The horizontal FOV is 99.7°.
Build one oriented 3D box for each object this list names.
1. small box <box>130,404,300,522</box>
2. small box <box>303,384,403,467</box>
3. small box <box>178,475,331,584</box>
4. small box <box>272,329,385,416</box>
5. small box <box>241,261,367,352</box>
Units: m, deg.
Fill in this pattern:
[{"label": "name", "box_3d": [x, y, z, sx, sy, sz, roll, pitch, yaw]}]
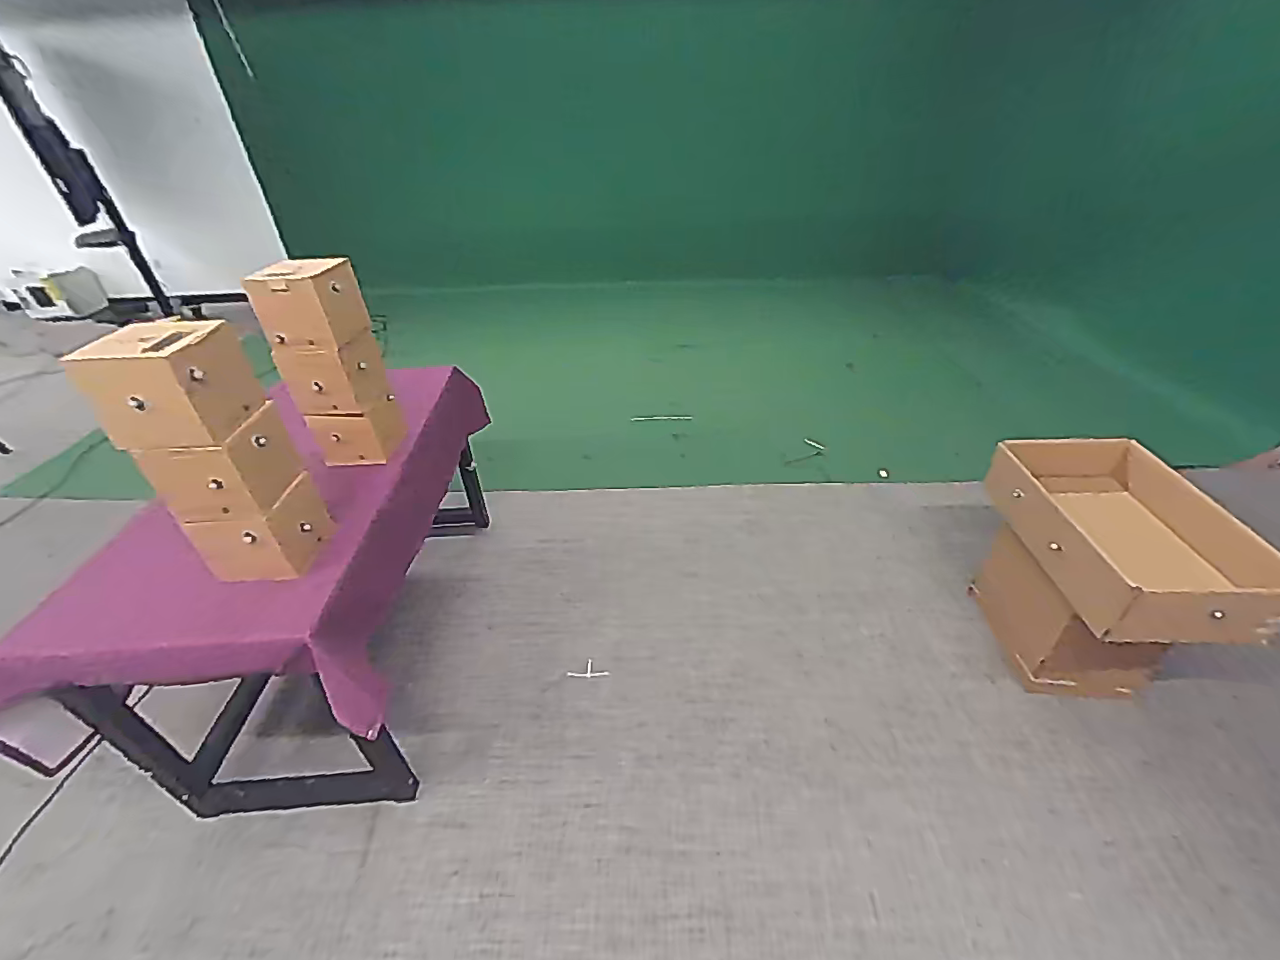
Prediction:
[{"label": "small box", "box_3d": [-0.803, -0.030, 1.050, 0.168, 0.176, 0.179, -2, 36, 0]}, {"label": "small box", "box_3d": [-0.776, -0.146, 1.488, 0.168, 0.176, 0.179, -3, 36, 0]}, {"label": "small box", "box_3d": [-0.795, 0.105, 1.142, 0.179, 0.176, 0.168, -2, 35, 2]}, {"label": "small box", "box_3d": [-0.784, -0.274, 1.386, 0.168, 0.176, 0.179, 0, 36, 3]}, {"label": "small box", "box_3d": [-0.790, -0.413, 1.296, 0.168, 0.176, 0.179, -1, 35, 4]}]
